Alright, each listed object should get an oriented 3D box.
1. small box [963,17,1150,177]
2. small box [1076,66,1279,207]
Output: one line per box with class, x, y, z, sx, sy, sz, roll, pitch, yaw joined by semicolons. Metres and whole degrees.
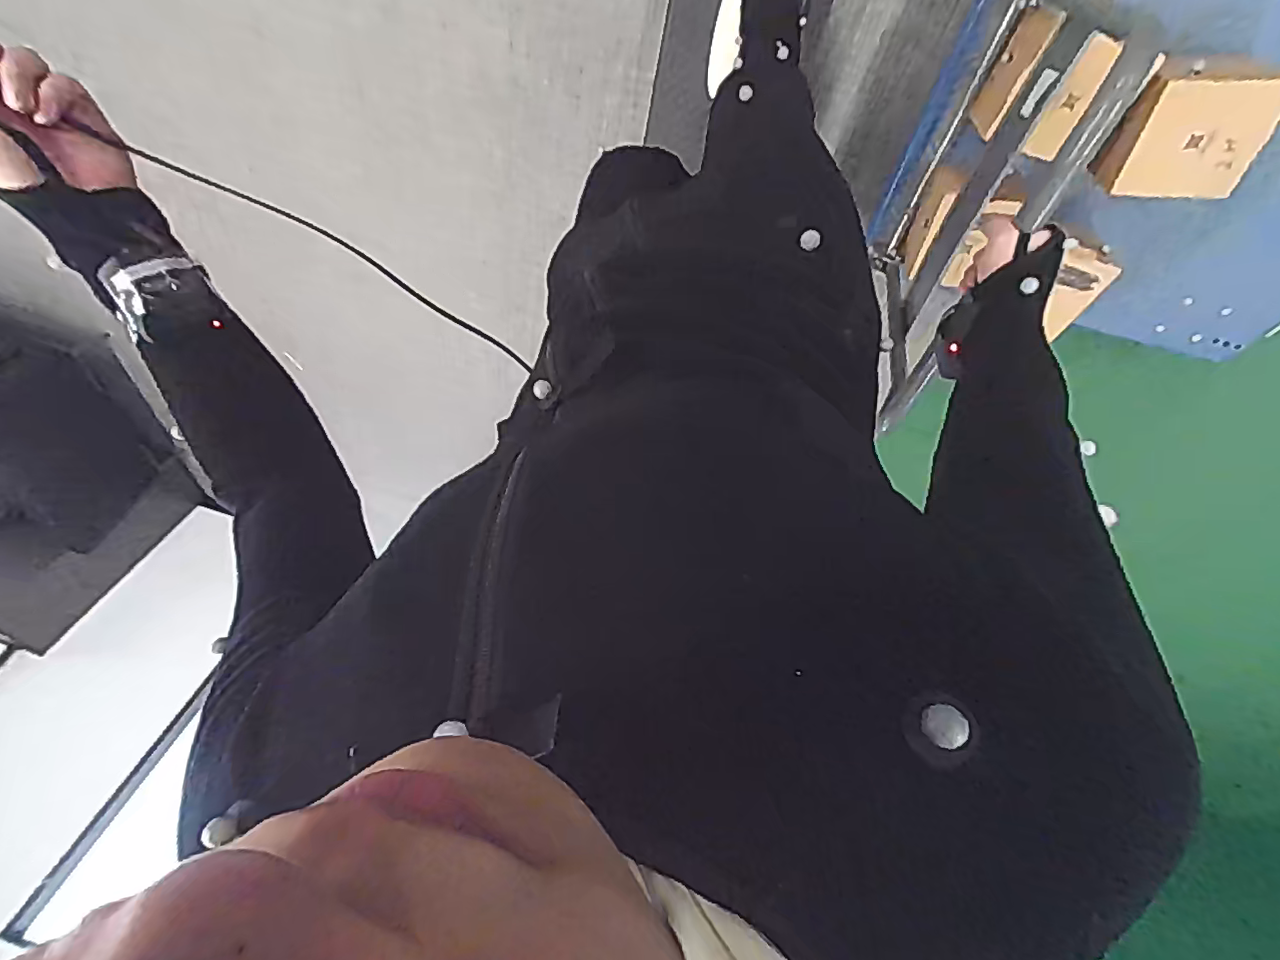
small box;0.693;-0.658;0.925;0.179;0.176;0.168;20;139;0
small box;0.896;-0.587;0.921;0.179;0.176;0.168;9;138;12
